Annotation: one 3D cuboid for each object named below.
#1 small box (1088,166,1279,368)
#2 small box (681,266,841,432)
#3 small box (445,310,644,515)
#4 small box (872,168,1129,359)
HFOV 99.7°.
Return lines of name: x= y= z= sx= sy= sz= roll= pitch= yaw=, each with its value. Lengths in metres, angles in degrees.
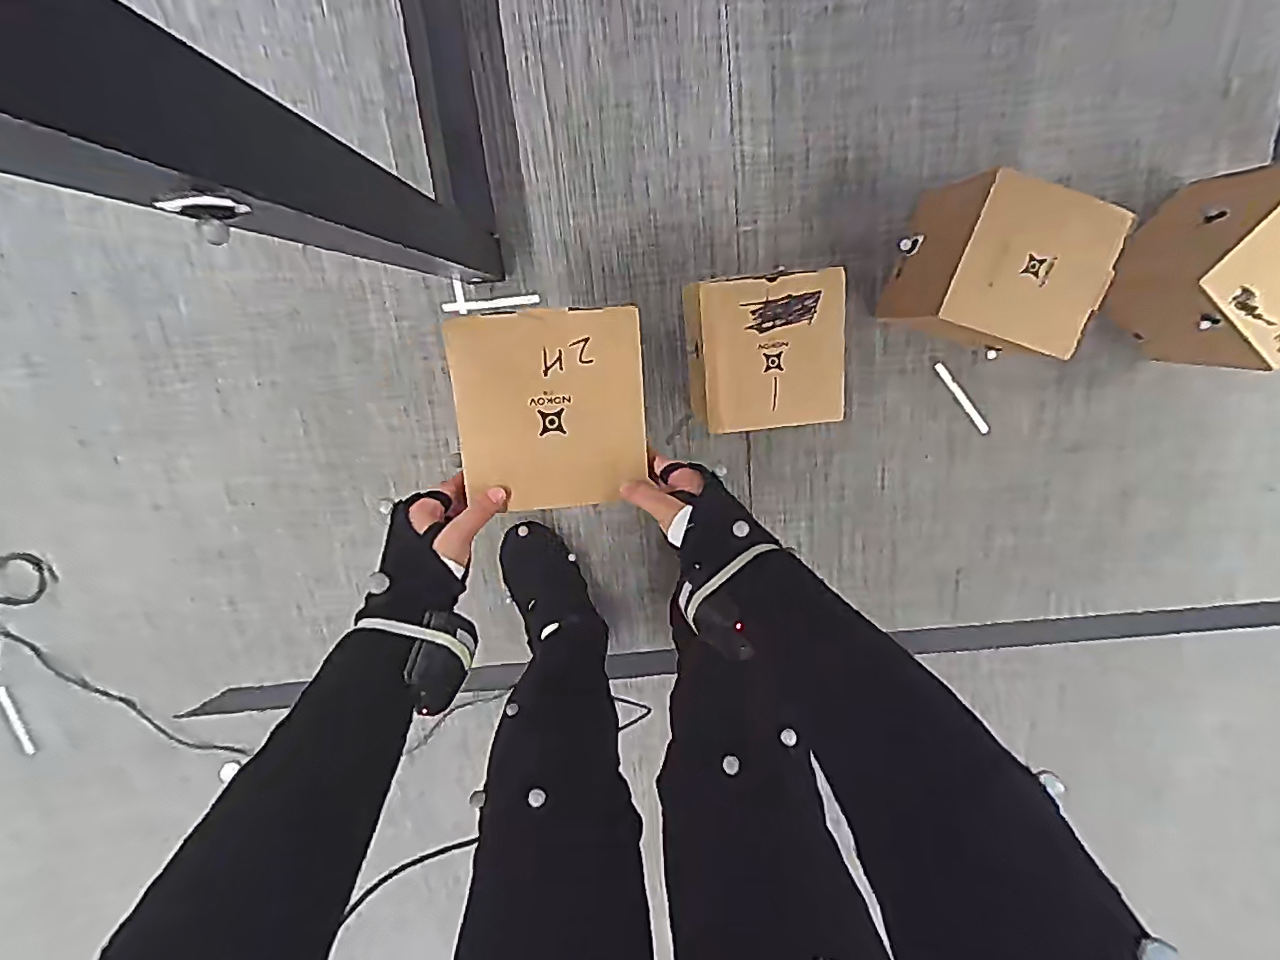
small box: x=0.737 y=-0.268 z=0.689 sx=0.168 sy=0.176 sz=0.179 roll=37 pitch=102 yaw=-11
small box: x=0.147 y=-0.170 z=0.701 sx=0.168 sy=0.176 sz=0.179 roll=-6 pitch=108 yaw=0
small box: x=-0.090 y=-0.075 z=0.557 sx=0.168 sy=0.176 sz=0.179 roll=-5 pitch=102 yaw=-8
small box: x=0.434 y=-0.262 z=0.684 sx=0.179 sy=0.176 sz=0.168 roll=15 pitch=105 yaw=-5
